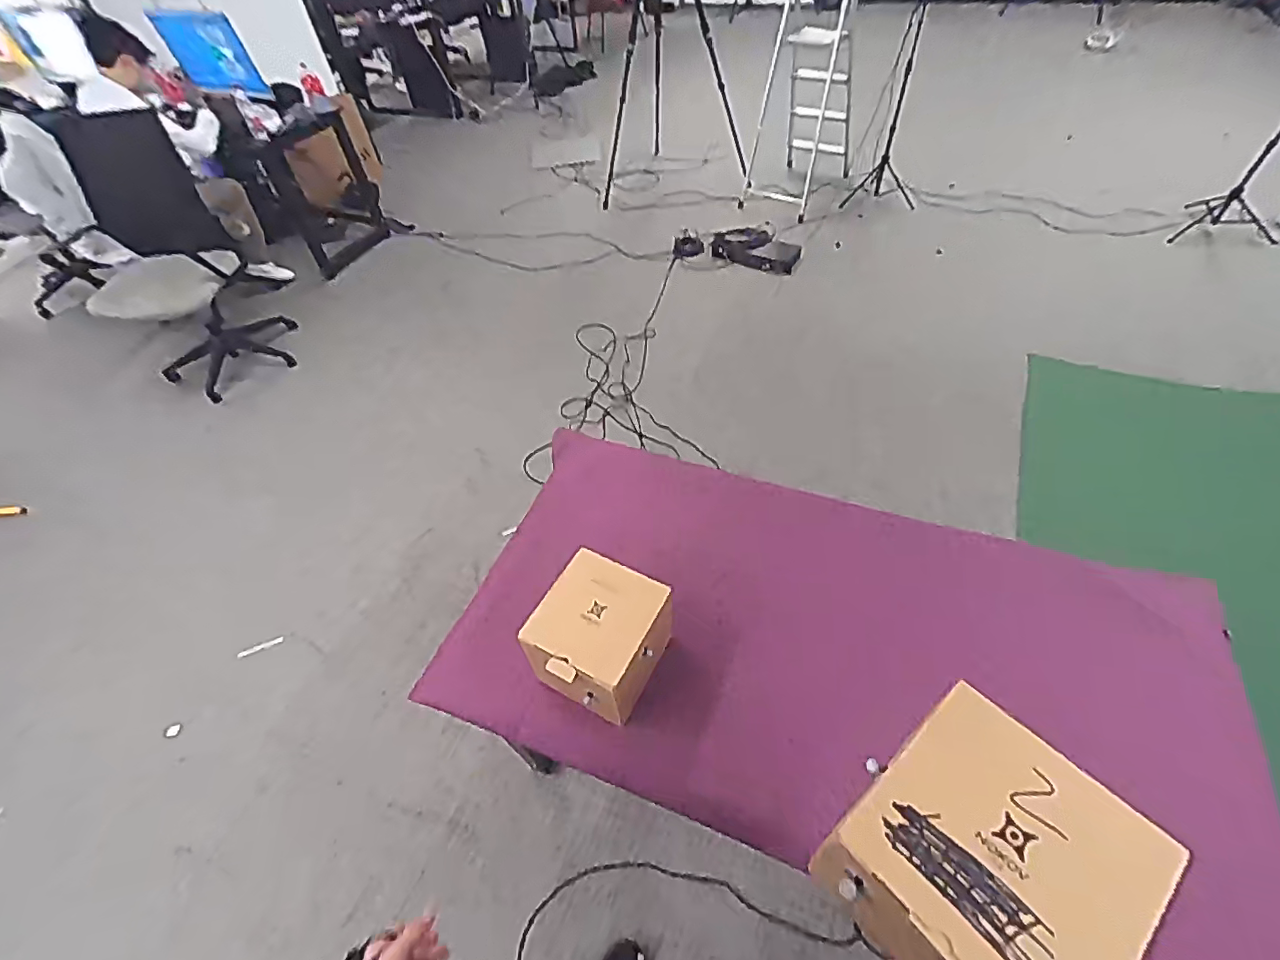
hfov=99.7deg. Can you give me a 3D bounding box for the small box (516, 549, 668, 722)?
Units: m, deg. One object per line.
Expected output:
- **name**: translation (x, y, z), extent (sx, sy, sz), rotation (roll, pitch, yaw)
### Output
- **small box**: translation (-0.063, 0.248, 0.856), extent (0.168, 0.176, 0.179), rotation (22, 54, 20)
